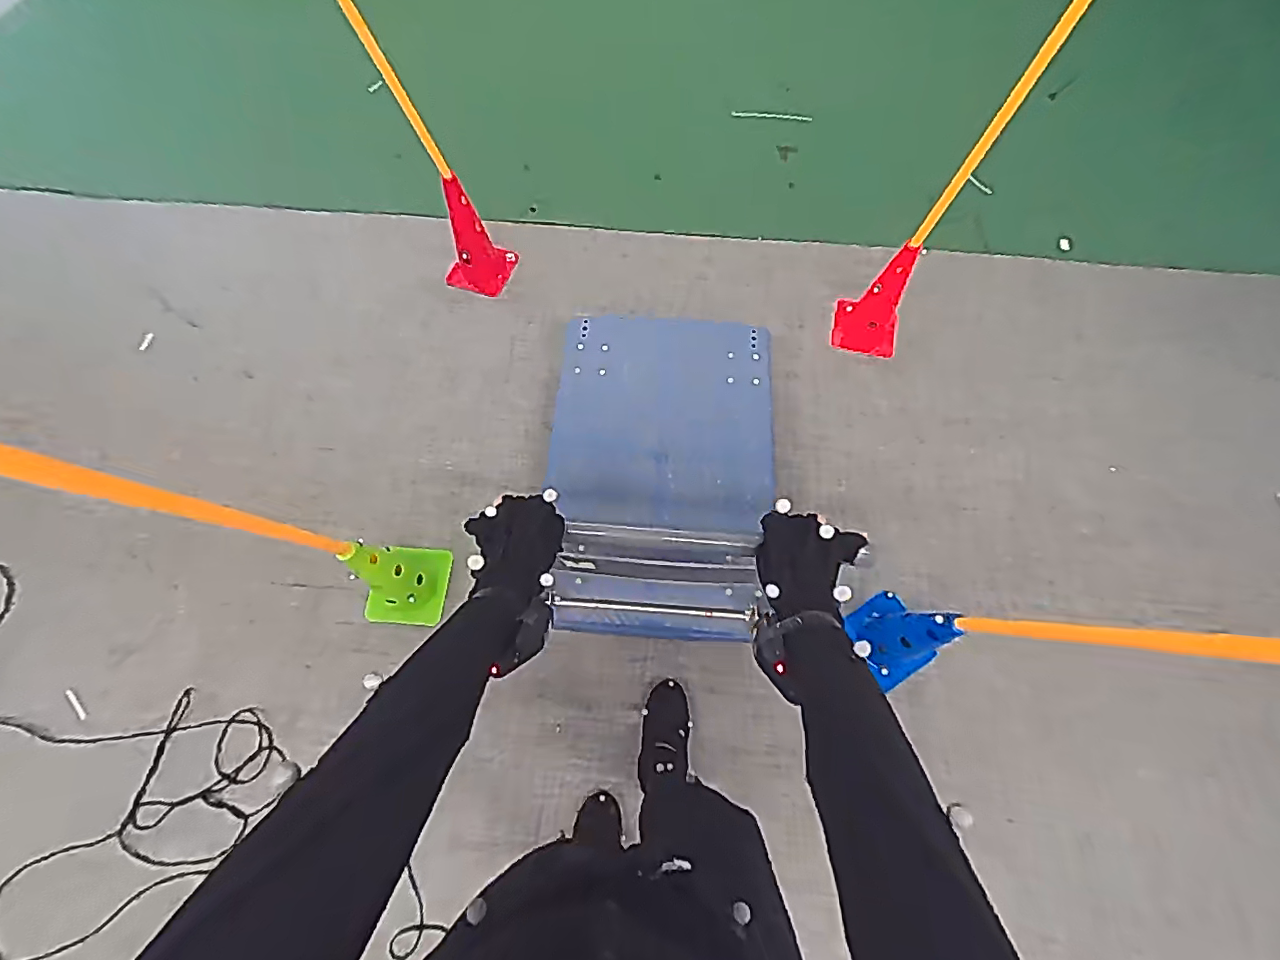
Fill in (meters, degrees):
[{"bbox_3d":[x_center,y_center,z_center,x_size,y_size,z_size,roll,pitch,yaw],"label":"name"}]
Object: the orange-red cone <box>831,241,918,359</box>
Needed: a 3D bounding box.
[{"bbox_3d":[0.722,-0.550,1.588,0.198,0.360,0.199,15,69,7],"label":"orange-red cone"}]
